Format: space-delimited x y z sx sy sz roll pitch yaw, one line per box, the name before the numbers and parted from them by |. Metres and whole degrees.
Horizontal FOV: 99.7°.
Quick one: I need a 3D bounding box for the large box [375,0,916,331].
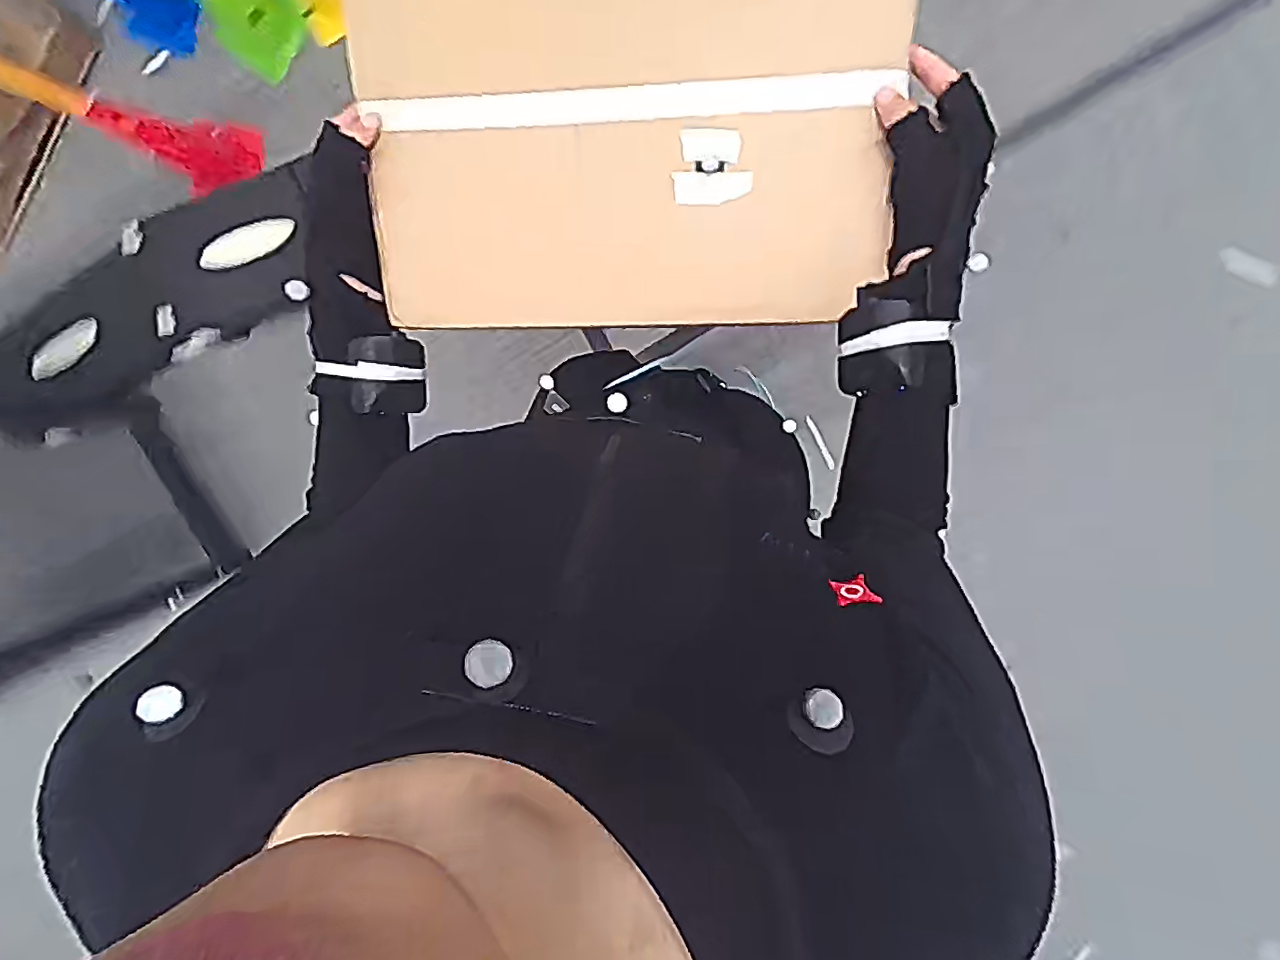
large box | 0.007 -0.317 0.557 0.408 0.320 0.320 2 107 4
